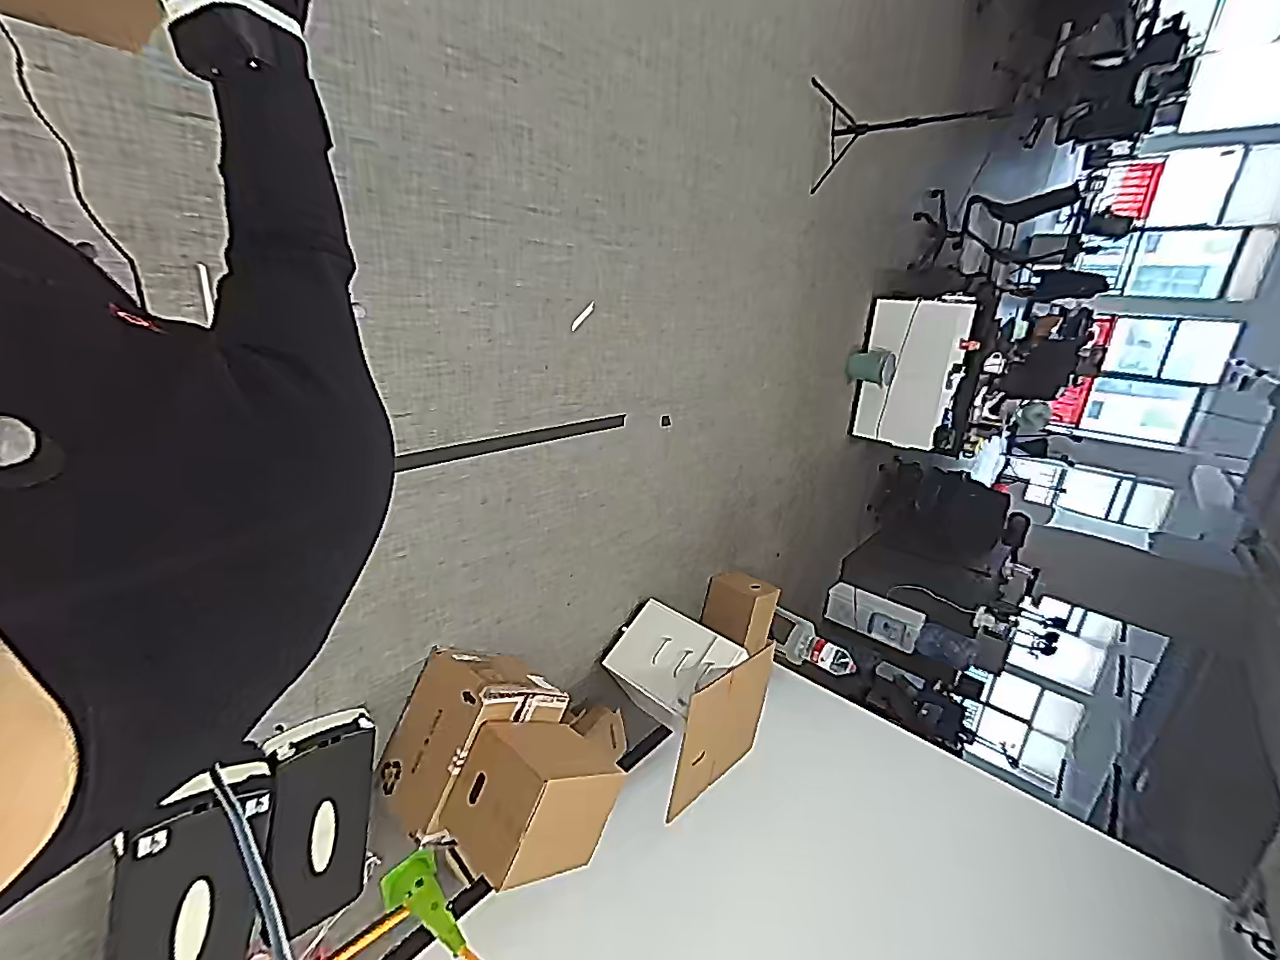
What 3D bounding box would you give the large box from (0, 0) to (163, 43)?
[{"bbox_3d":[-0.526,-0.499,0.265,0.408,0.320,0.320,-16,119,-46],"label":"large box"}]
